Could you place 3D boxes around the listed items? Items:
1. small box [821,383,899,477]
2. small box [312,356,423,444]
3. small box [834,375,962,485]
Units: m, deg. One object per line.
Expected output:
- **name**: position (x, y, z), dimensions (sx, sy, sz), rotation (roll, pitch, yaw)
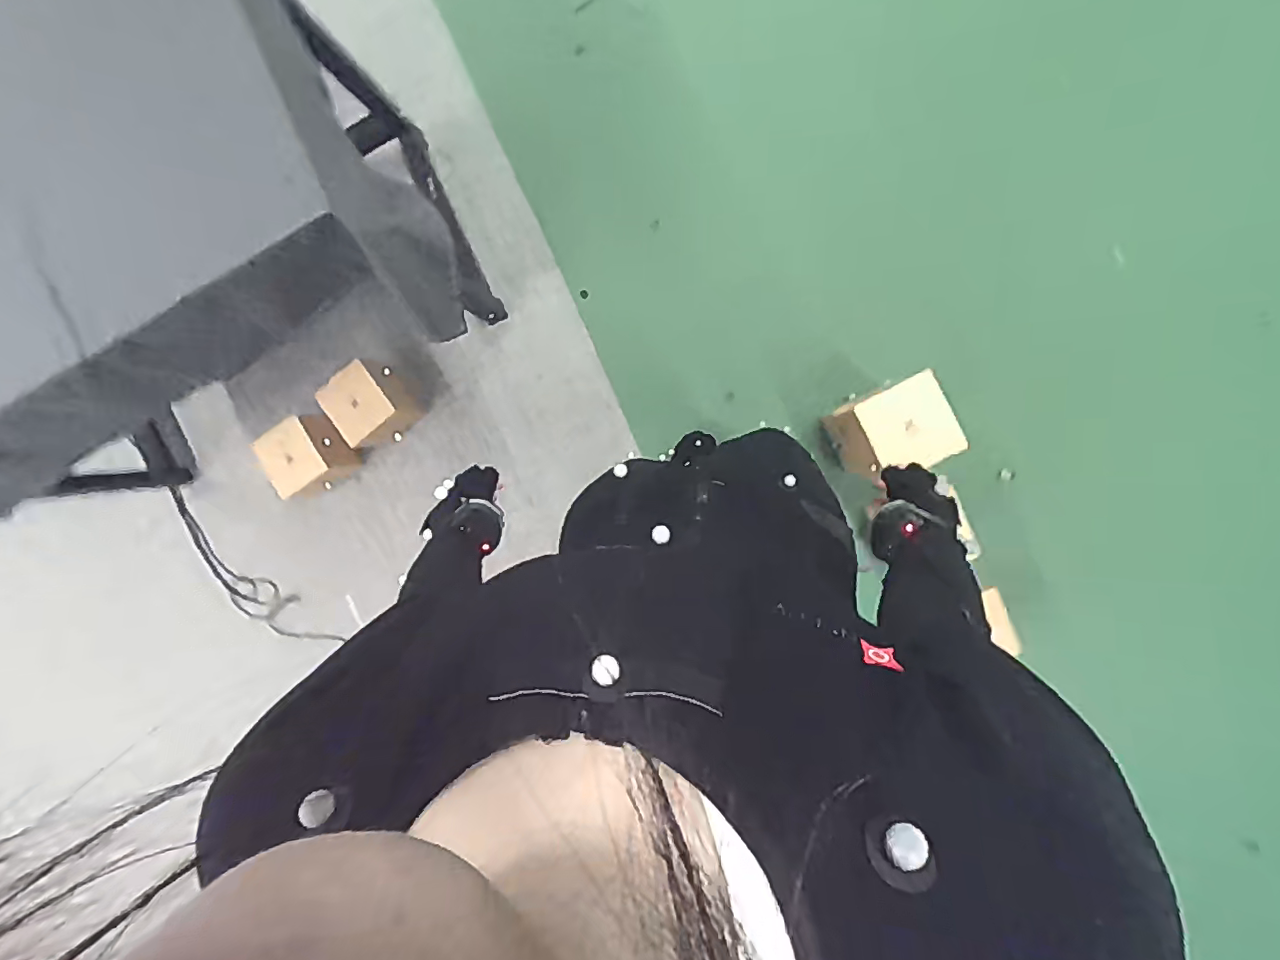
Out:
- **small box**: position (0.561, -0.119, 1.326), dimensions (0.179, 0.176, 0.168), rotation (-25, 91, 10)
- **small box**: position (-0.739, -0.211, 1.482), dimensions (0.168, 0.176, 0.179), rotation (-36, 89, 9)
- **small box**: position (0.543, -0.104, 1.165), dimensions (0.168, 0.176, 0.179), rotation (-26, 91, 8)
